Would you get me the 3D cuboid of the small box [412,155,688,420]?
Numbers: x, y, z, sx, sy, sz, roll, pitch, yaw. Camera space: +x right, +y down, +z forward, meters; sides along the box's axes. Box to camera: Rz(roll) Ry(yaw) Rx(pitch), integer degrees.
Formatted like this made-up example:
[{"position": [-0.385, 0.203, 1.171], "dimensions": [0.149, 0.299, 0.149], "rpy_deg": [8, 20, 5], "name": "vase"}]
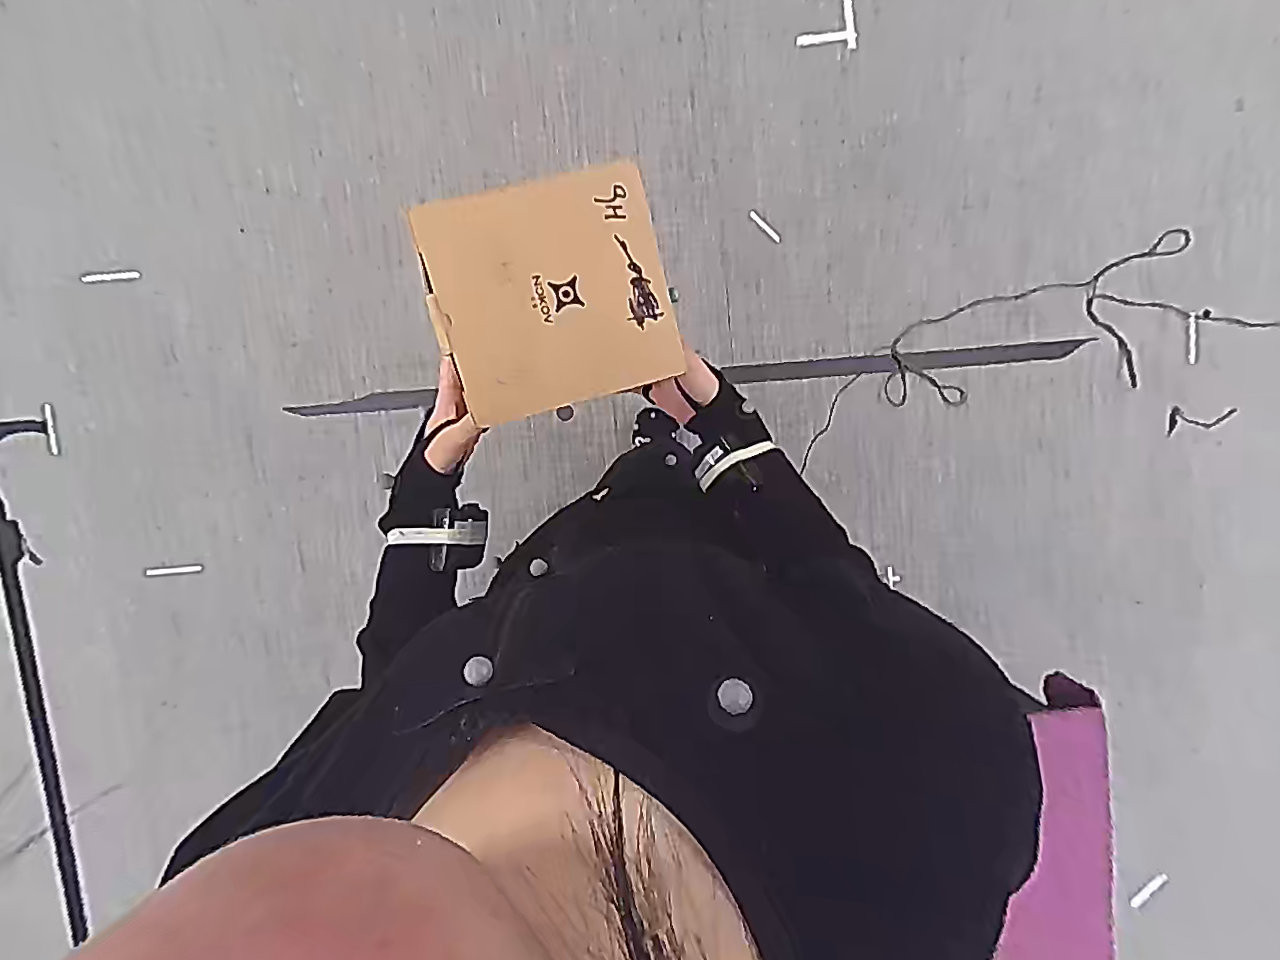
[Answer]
[{"position": [-0.073, -0.153, 0.485], "dimensions": [0.179, 0.176, 0.168], "rpy_deg": [-16, 100, -6], "name": "small box"}]
